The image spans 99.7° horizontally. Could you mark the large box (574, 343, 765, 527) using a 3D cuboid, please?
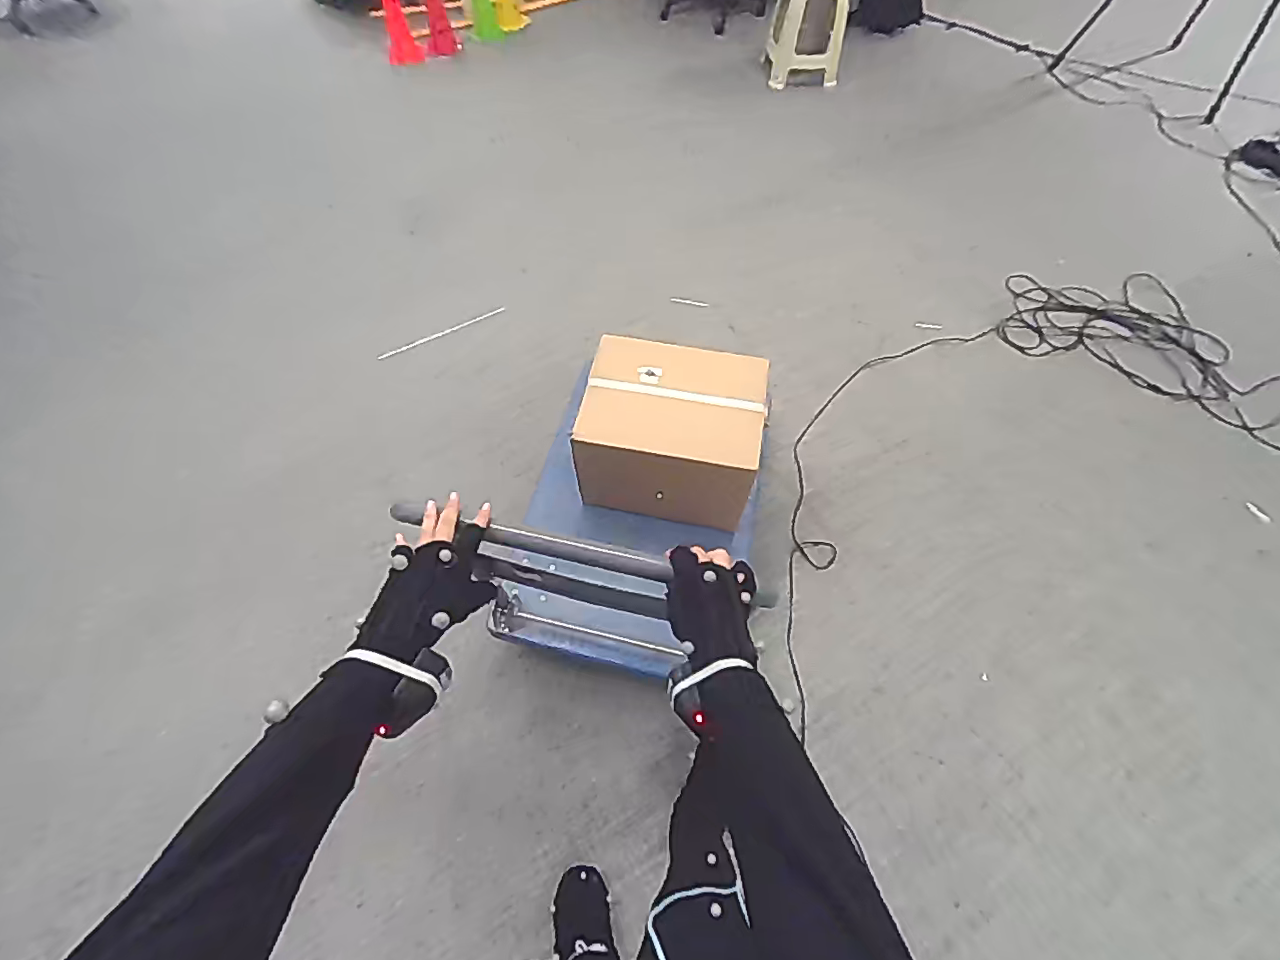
[{"bbox_3d":[0.080,-0.103,1.346,0.408,0.320,0.320,8,60,6],"label":"large box"}]
